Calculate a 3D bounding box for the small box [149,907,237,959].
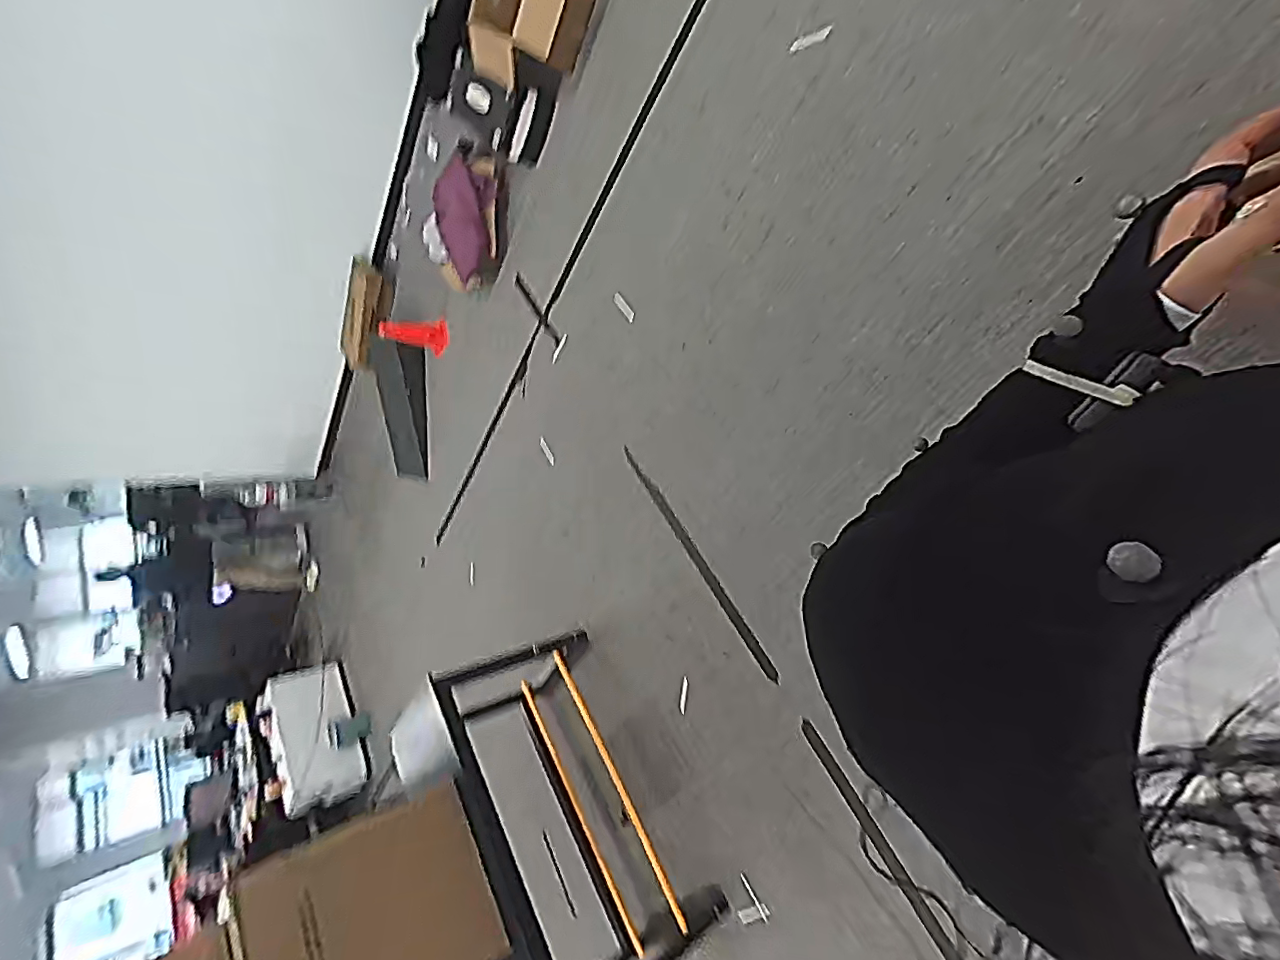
[{"bbox_3d":[-1.197,1.303,1.454,0.168,0.176,0.179,54,129,27],"label":"small box"}]
